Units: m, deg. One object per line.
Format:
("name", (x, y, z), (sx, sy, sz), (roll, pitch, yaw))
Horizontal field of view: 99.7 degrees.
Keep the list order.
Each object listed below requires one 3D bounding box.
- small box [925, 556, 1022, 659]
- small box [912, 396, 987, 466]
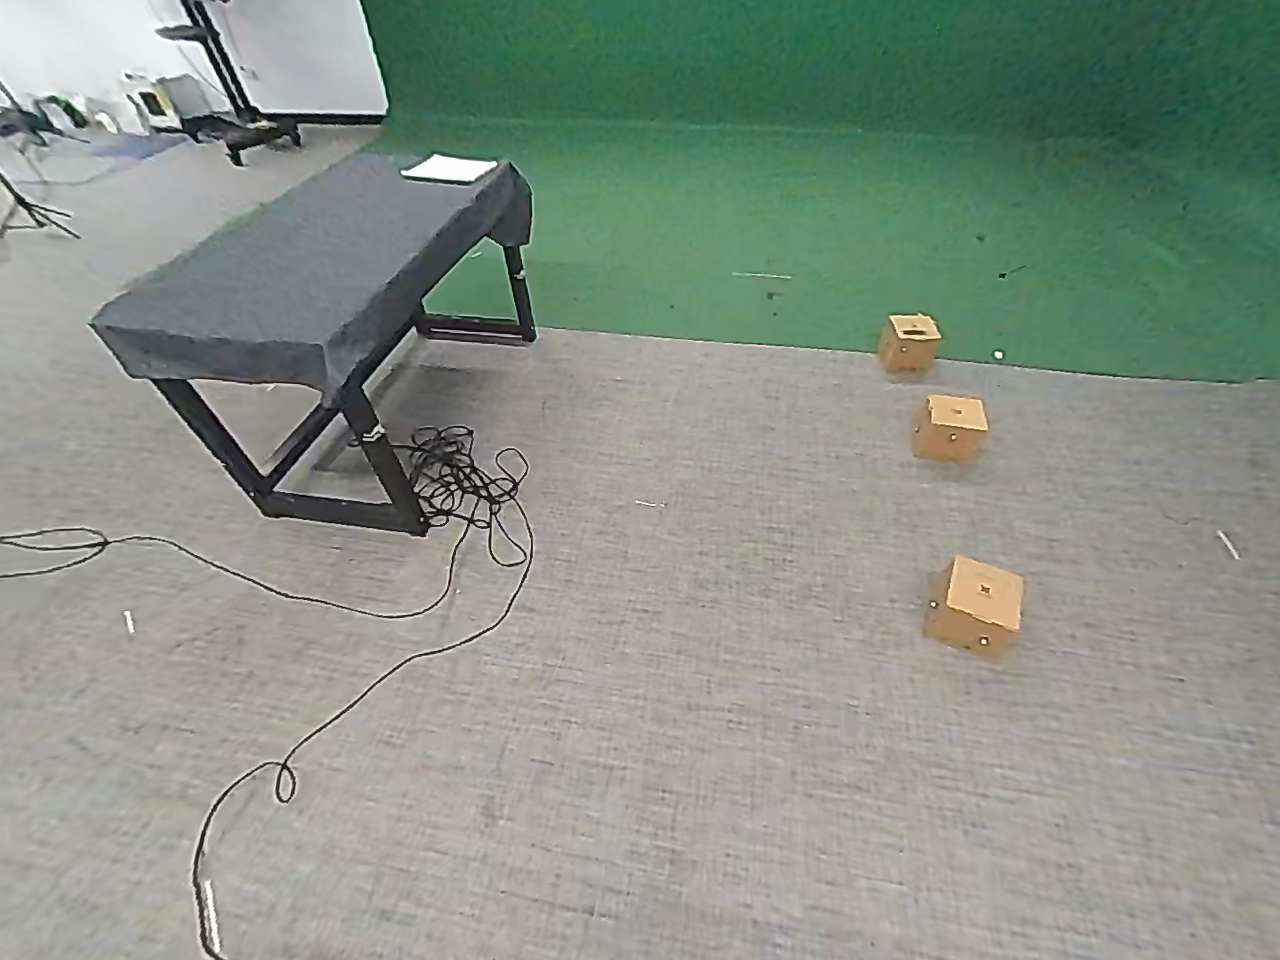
("small box", (0.876, 0.340, 1.430), (0.168, 0.176, 0.179), (20, 50, 19))
("small box", (1.079, -0.169, 1.898), (0.179, 0.176, 0.168), (9, 48, 12))
